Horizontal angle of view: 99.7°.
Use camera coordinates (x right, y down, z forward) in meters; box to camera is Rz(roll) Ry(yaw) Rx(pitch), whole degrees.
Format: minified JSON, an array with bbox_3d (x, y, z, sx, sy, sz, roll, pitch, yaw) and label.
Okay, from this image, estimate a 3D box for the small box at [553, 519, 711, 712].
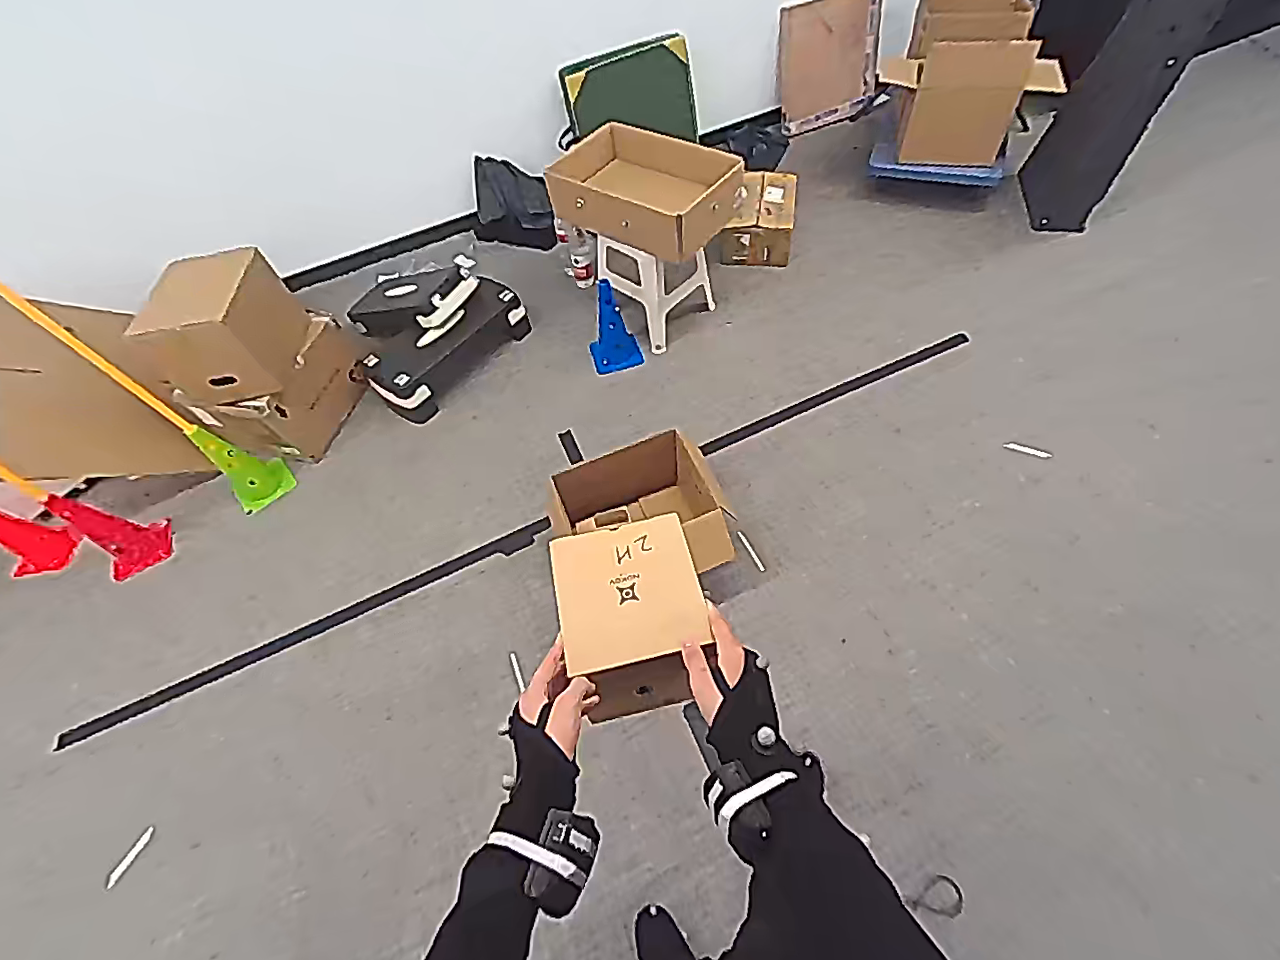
[{"bbox_3d":[-0.009,0.180,0.696,0.168,0.176,0.179,-12,49,-5],"label":"small box"}]
